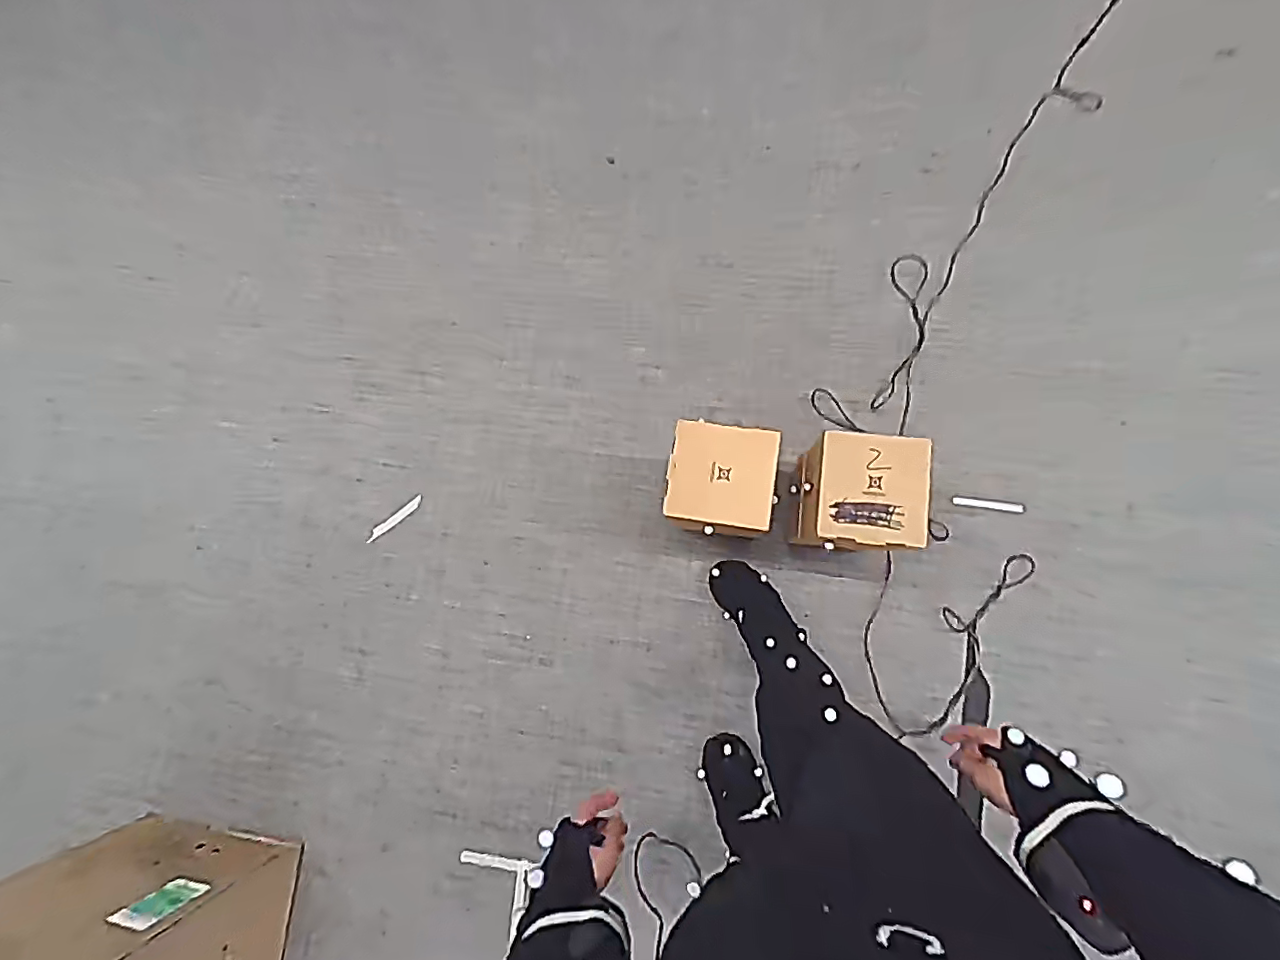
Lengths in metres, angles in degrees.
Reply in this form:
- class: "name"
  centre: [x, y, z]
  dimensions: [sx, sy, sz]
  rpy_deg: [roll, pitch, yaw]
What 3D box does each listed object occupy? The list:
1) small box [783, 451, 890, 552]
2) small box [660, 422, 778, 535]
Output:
- class: "small box"
  centre: [0.389, 0.048, 1.092]
  dimensions: [0.168, 0.176, 0.179]
  rpy_deg: [6, 83, 8]
- class: "small box"
  centre: [0.140, 0.005, 0.965]
  dimensions: [0.179, 0.176, 0.168]
  rpy_deg: [8, 83, 10]
